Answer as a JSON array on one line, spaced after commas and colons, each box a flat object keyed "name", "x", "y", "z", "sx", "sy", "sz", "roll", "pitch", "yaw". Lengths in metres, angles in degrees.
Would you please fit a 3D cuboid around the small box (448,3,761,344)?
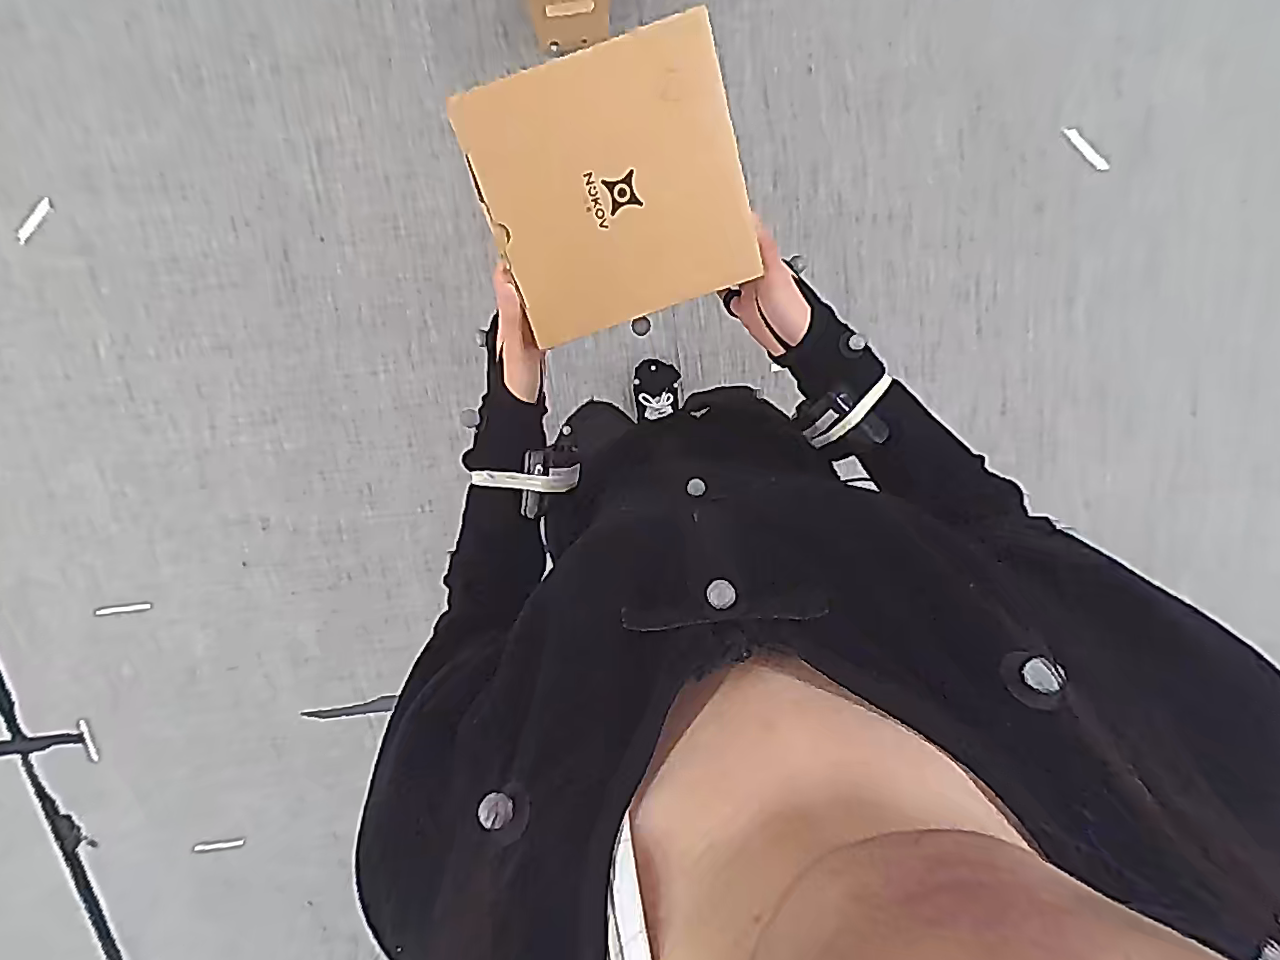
[{"name": "small box", "x": -0.023, "y": -0.228, "z": 0.439, "sx": 0.179, "sy": 0.176, "sz": 0.168, "roll": -19, "pitch": 113, "yaw": 4}]

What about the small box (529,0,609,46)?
[{"name": "small box", "x": -0.161, "y": -1.093, "z": 1.183, "sx": 0.168, "sy": 0.176, "sz": 0.179, "roll": -9, "pitch": 102, "yaw": 0}]
